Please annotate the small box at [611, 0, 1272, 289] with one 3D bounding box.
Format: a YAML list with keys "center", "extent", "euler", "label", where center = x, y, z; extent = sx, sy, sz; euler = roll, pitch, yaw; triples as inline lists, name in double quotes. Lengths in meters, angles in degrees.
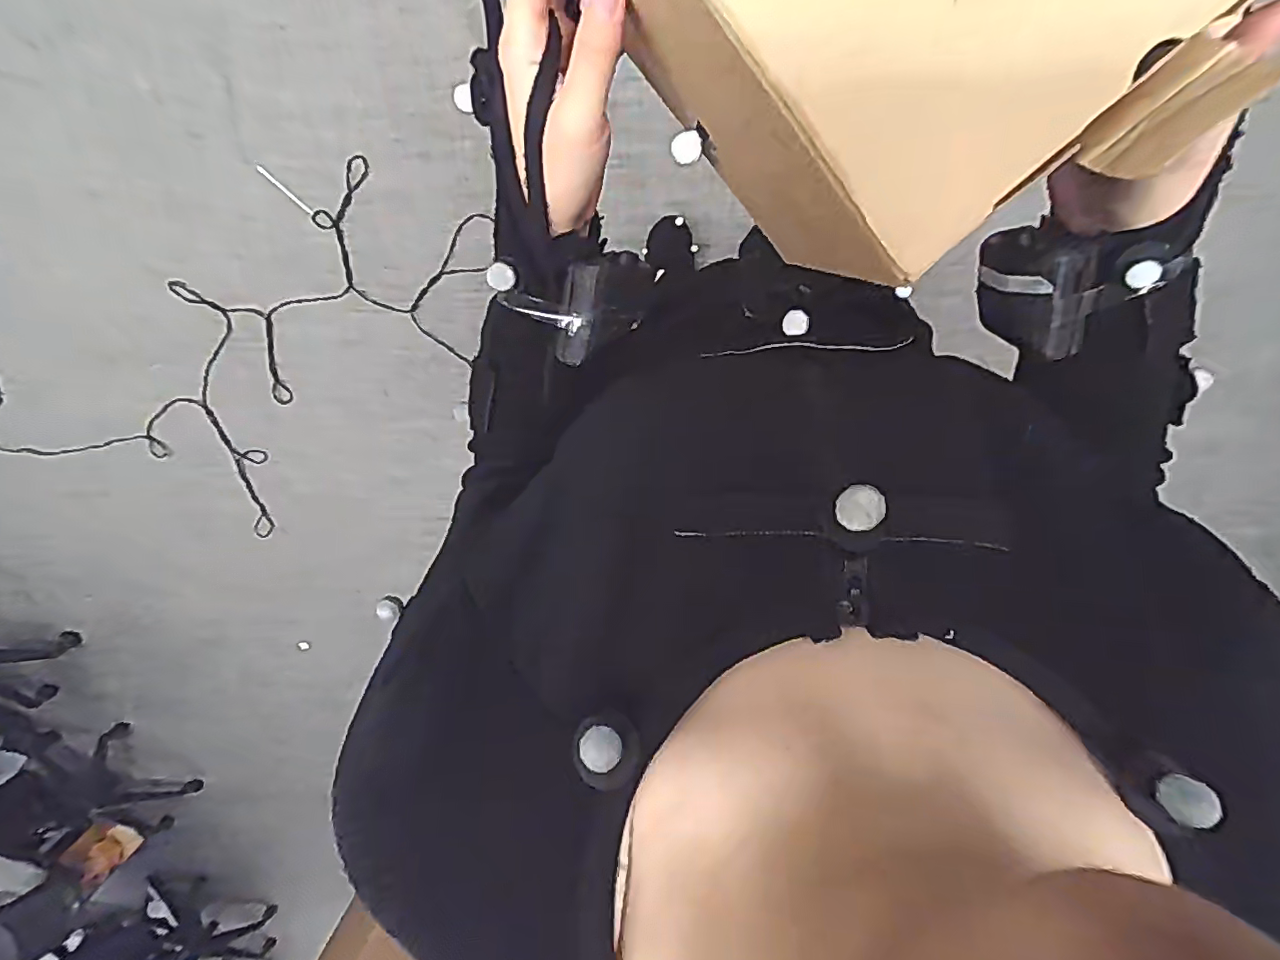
- center: [0.095, -0.206, 0.209]
  extent: [0.168, 0.176, 0.179]
  euler: [-39, 108, 18]
  label: "small box"
